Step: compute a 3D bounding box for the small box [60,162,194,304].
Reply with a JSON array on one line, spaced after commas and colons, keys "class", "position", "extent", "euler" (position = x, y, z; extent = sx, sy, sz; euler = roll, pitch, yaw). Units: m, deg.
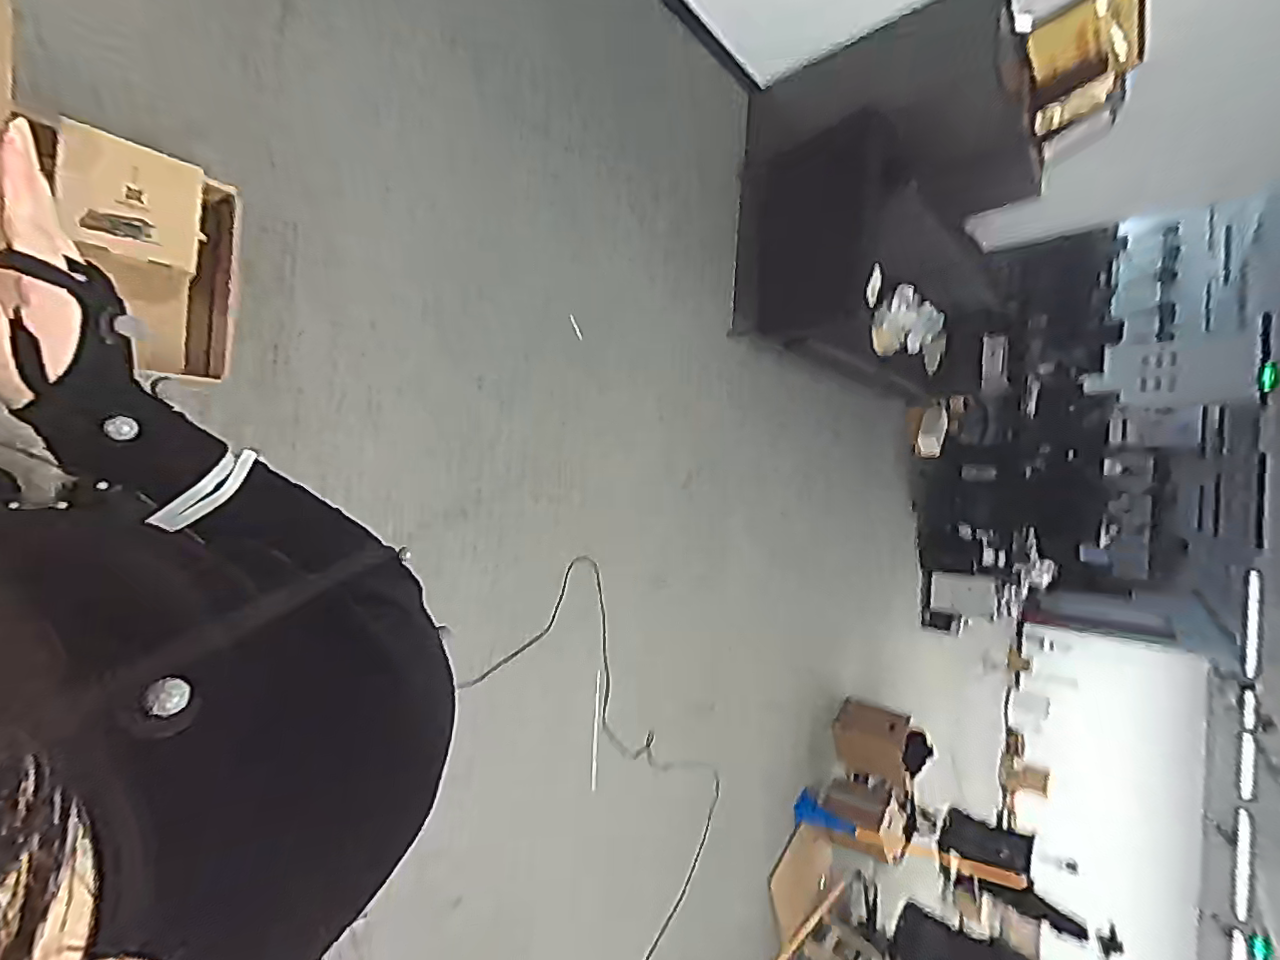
[{"class": "small box", "position": [-0.961, -0.446, 1.014], "extent": [0.168, 0.176, 0.179], "euler": [4, 90, -47]}]

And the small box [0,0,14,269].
[{"class": "small box", "position": [-0.354, -0.207, 0.186], "extent": [0.168, 0.179, 0.176], "euler": [-2, 81, -44]}]
